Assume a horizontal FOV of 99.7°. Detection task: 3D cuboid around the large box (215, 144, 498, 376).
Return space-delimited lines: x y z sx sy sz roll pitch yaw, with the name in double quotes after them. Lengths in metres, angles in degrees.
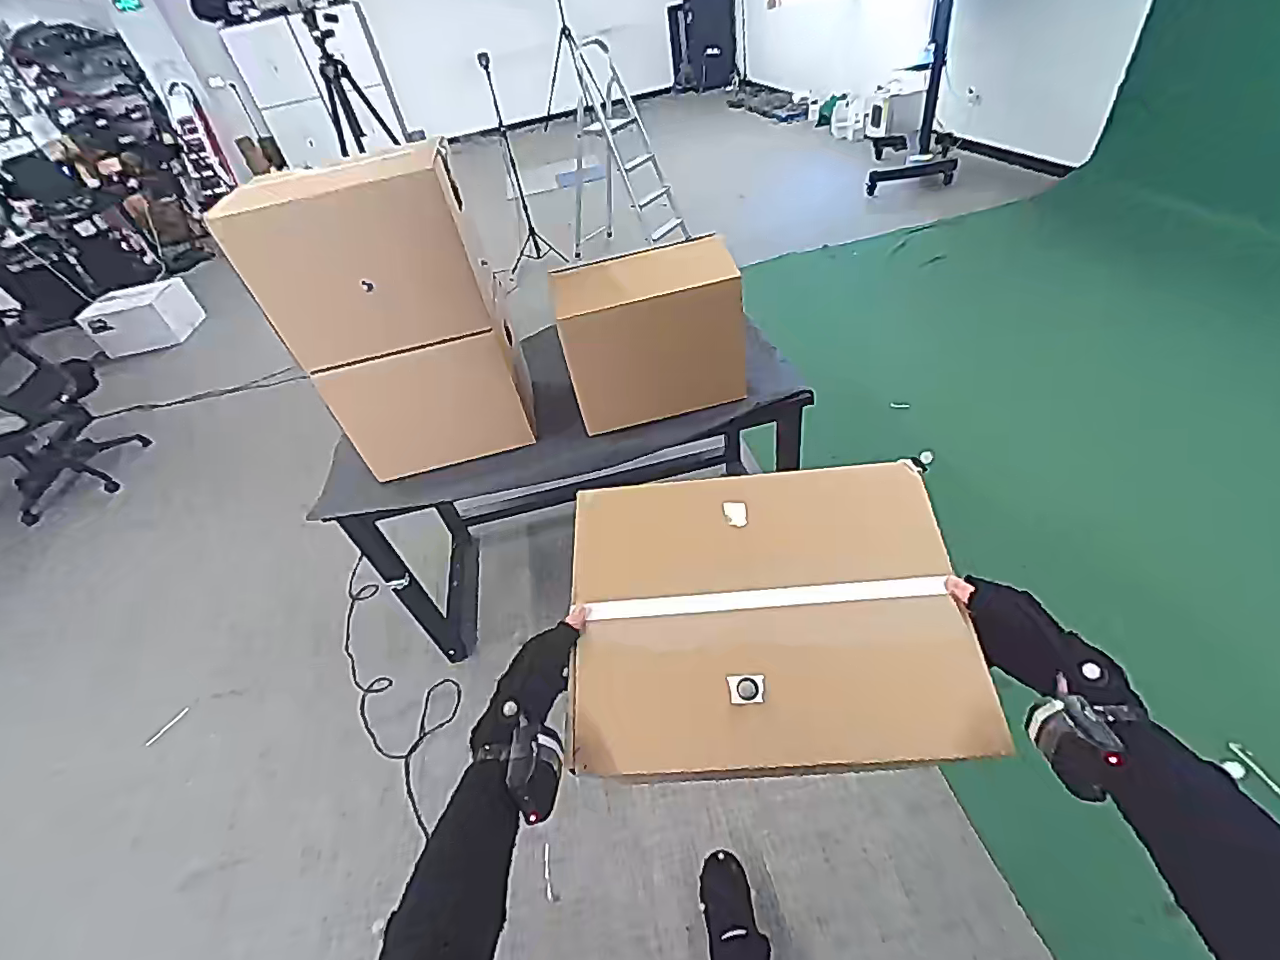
-0.546 -0.467 1.144 0.408 0.320 0.320 -15 42 -2 "large box"
